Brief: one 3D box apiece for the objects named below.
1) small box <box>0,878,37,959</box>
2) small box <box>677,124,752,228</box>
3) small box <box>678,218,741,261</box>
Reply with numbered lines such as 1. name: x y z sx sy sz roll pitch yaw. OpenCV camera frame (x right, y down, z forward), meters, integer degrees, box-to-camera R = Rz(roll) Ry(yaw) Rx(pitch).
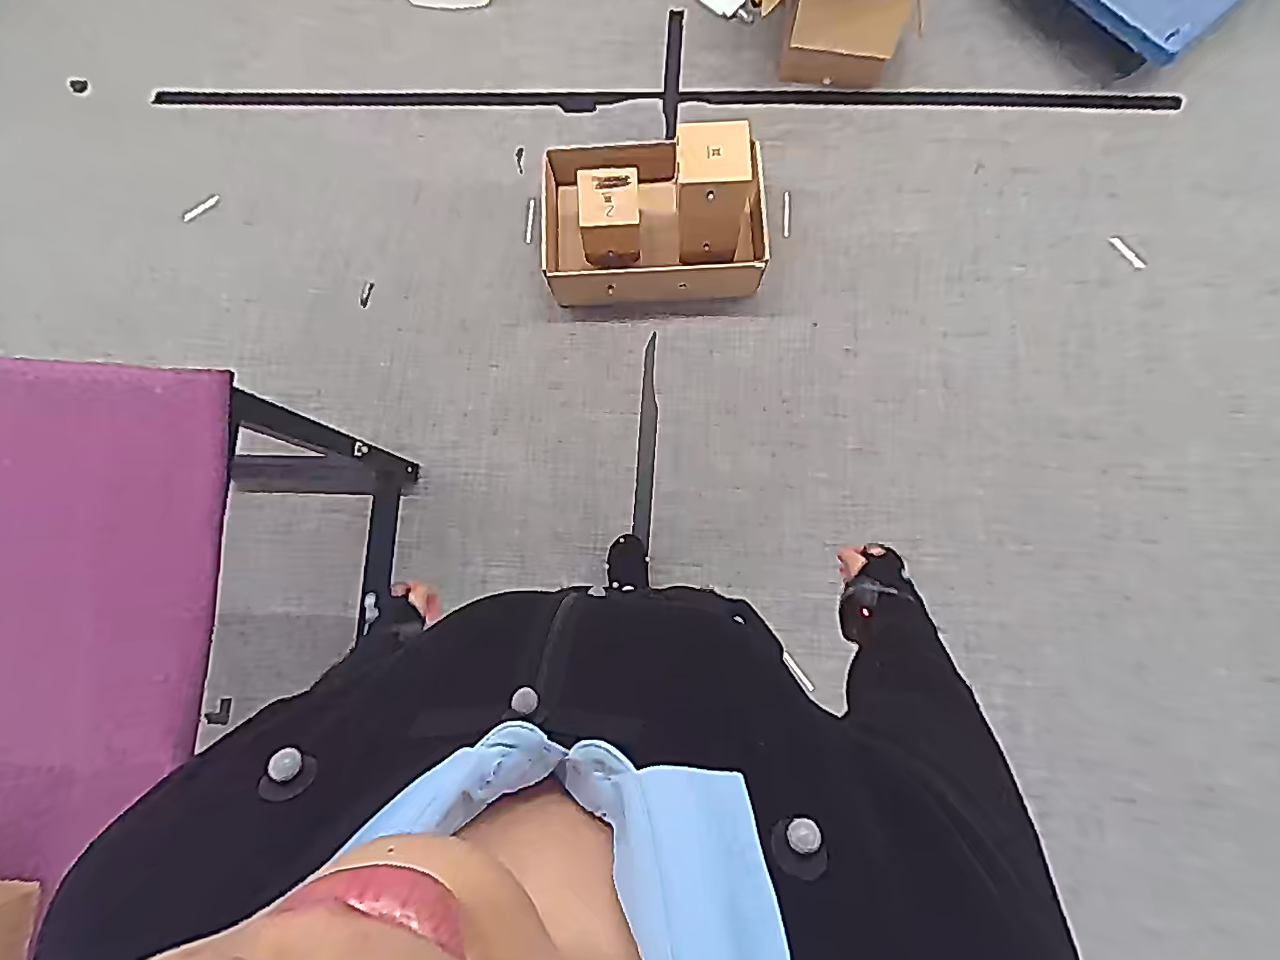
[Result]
1. small box: -0.908 0.620 0.652 0.168 0.176 0.179 3 79 2
2. small box: 0.184 -0.769 1.381 0.179 0.176 0.168 -1 80 3
3. small box: 0.194 -0.742 1.541 0.168 0.176 0.179 -1 79 2
